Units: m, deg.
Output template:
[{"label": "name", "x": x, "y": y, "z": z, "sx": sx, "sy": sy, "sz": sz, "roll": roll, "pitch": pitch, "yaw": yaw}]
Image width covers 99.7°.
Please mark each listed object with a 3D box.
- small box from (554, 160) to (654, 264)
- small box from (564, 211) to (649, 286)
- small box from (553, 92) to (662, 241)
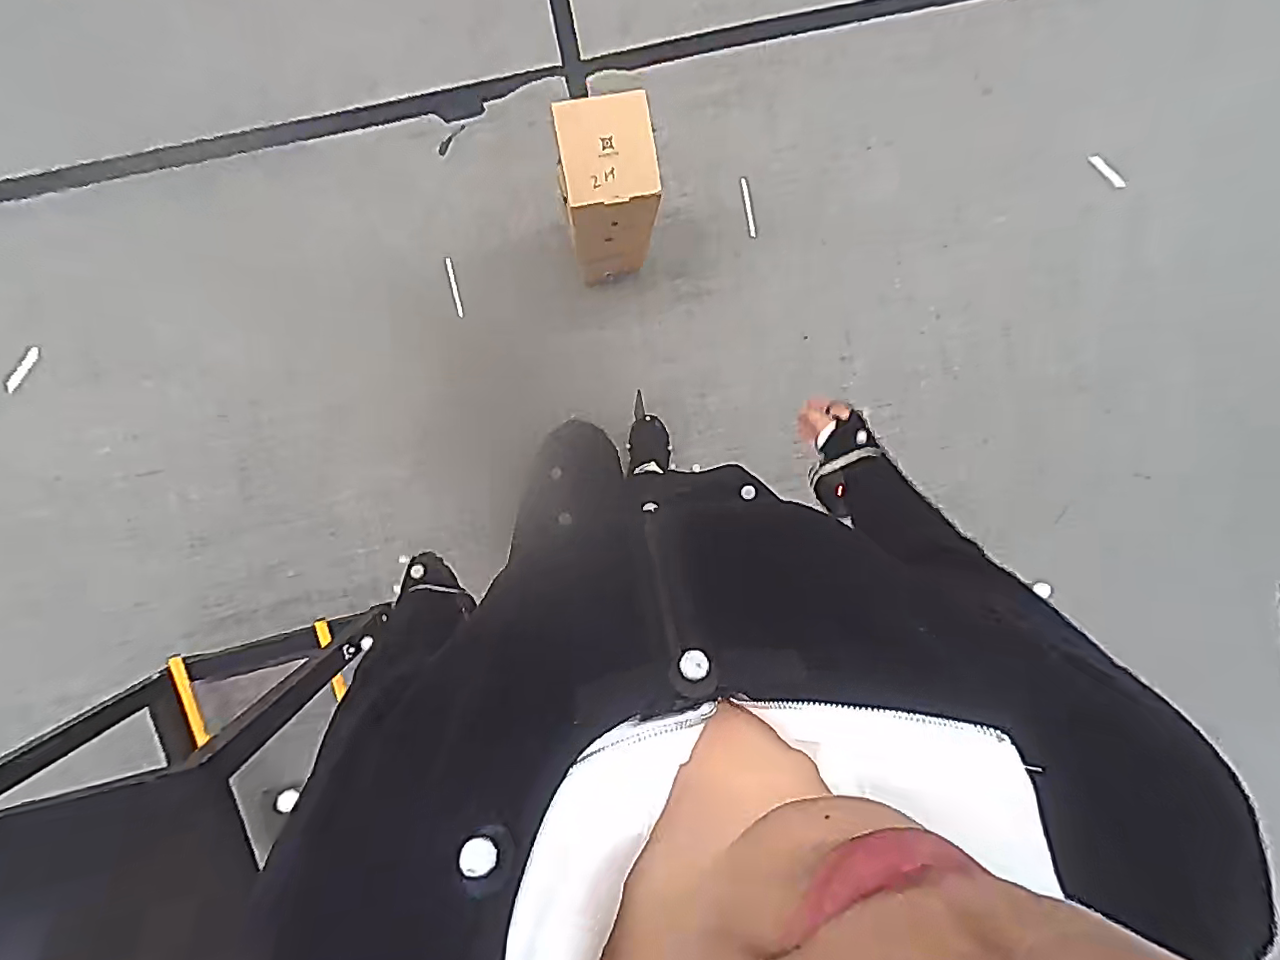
[{"label": "small box", "x": -0.075, "y": -0.587, "z": 1.171, "sx": 0.179, "sy": 0.176, "sz": 0.168, "roll": -14, "pitch": 97, "yaw": -3}, {"label": "small box", "x": -0.087, "y": -0.604, "z": 1.335, "sx": 0.168, "sy": 0.176, "sz": 0.179, "roll": -18, "pitch": 98, "yaw": -1}, {"label": "small box", "x": -0.061, "y": -0.573, "z": 1.007, "sx": 0.168, "sy": 0.176, "sz": 0.179, "roll": -11, "pitch": 97, "yaw": -2}]
